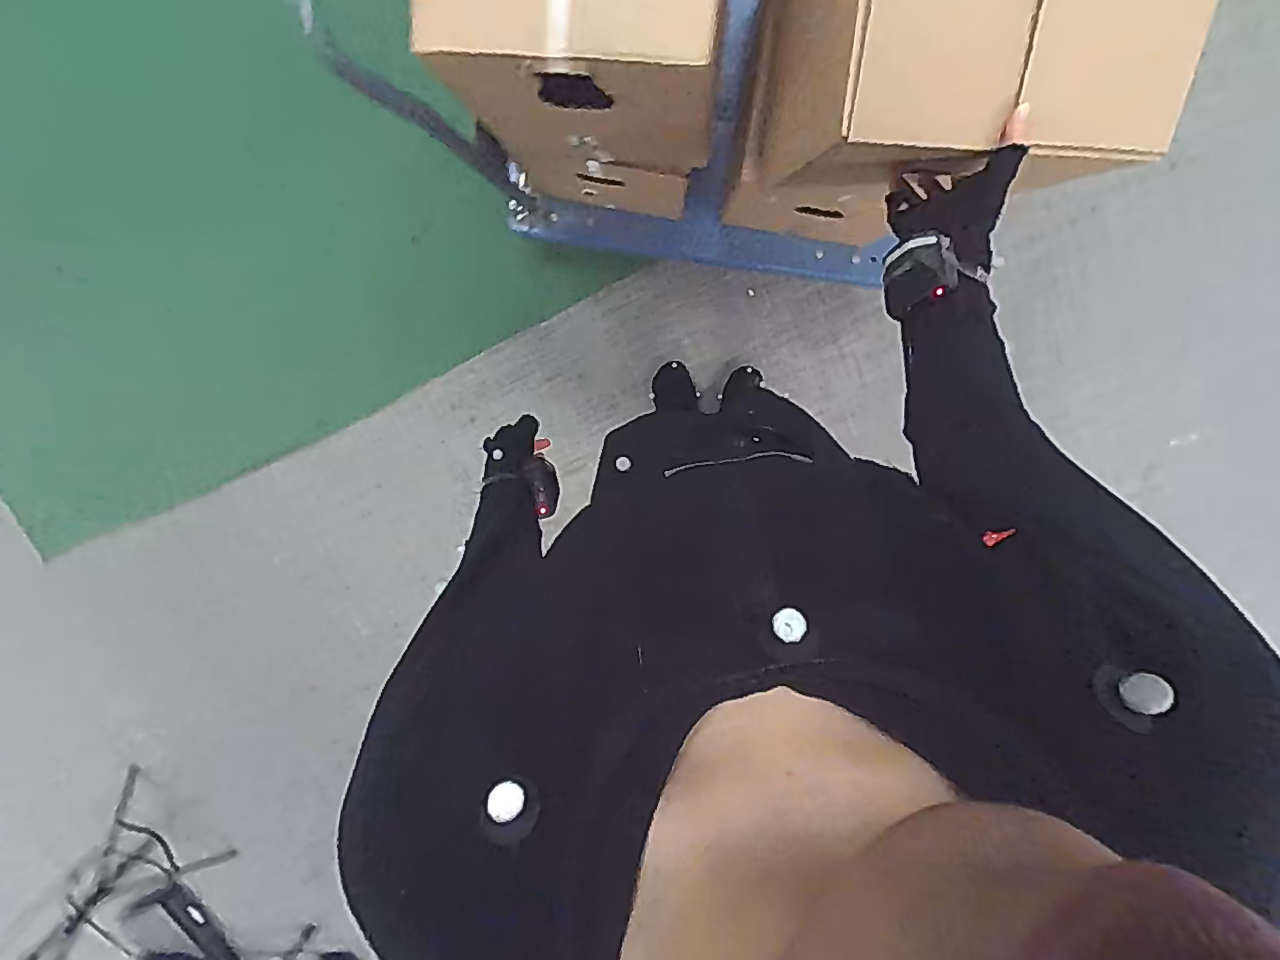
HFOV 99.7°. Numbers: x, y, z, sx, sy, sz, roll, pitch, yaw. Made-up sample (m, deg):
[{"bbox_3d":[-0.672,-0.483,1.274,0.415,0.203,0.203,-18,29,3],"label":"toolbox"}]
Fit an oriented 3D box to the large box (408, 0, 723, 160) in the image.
[{"bbox_3d":[-0.055,-0.655,0.647,0.320,0.320,0.408,7,104,6],"label":"large box"}]
